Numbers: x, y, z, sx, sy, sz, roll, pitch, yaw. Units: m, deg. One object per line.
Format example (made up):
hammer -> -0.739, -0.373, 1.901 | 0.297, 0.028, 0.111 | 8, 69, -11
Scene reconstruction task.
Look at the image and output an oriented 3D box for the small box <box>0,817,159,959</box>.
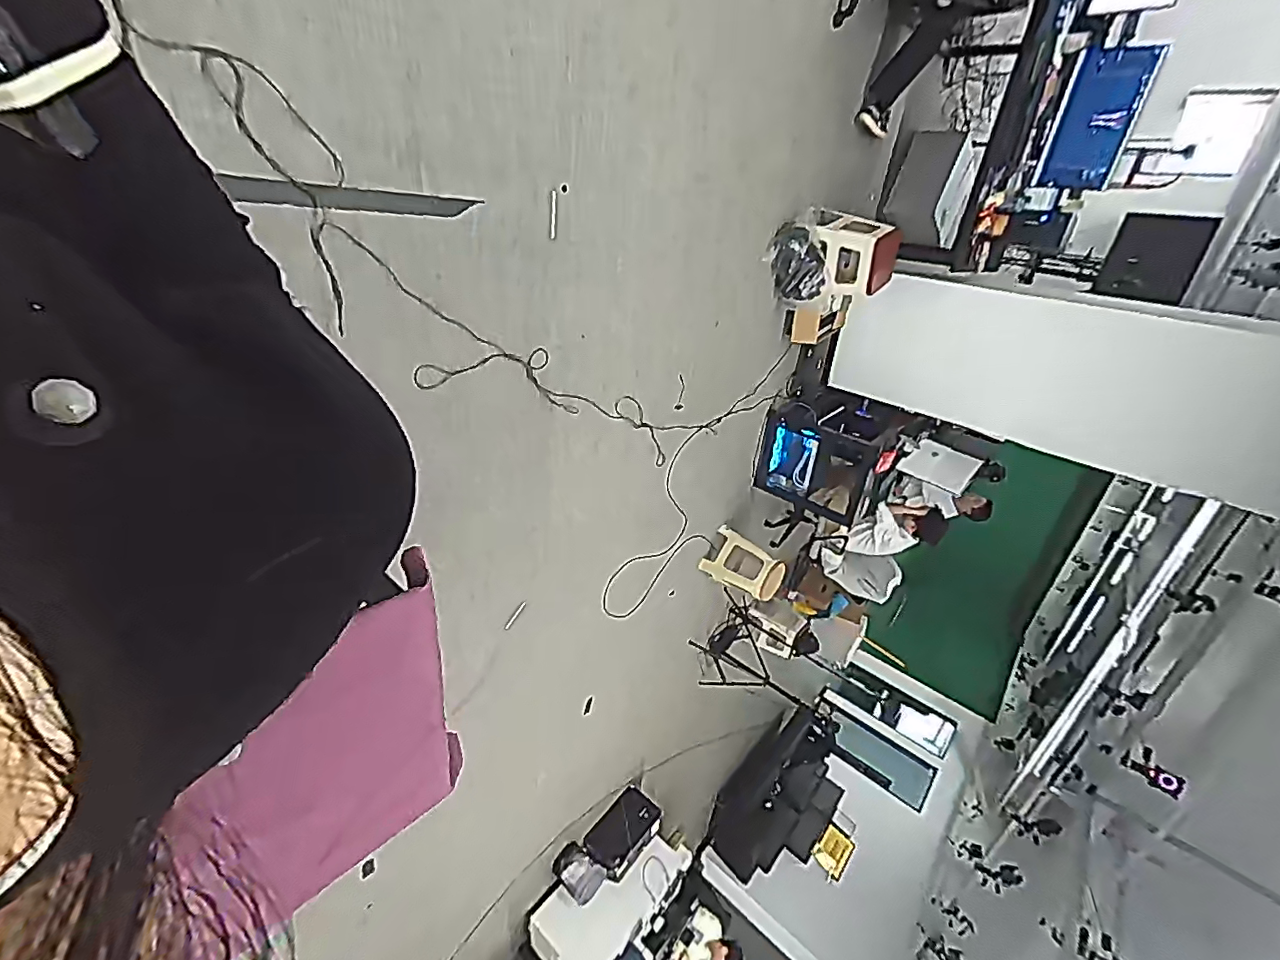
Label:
small box -> -0.717, 0.561, 0.650 | 0.168, 0.176, 0.179 | -23, 129, -47
